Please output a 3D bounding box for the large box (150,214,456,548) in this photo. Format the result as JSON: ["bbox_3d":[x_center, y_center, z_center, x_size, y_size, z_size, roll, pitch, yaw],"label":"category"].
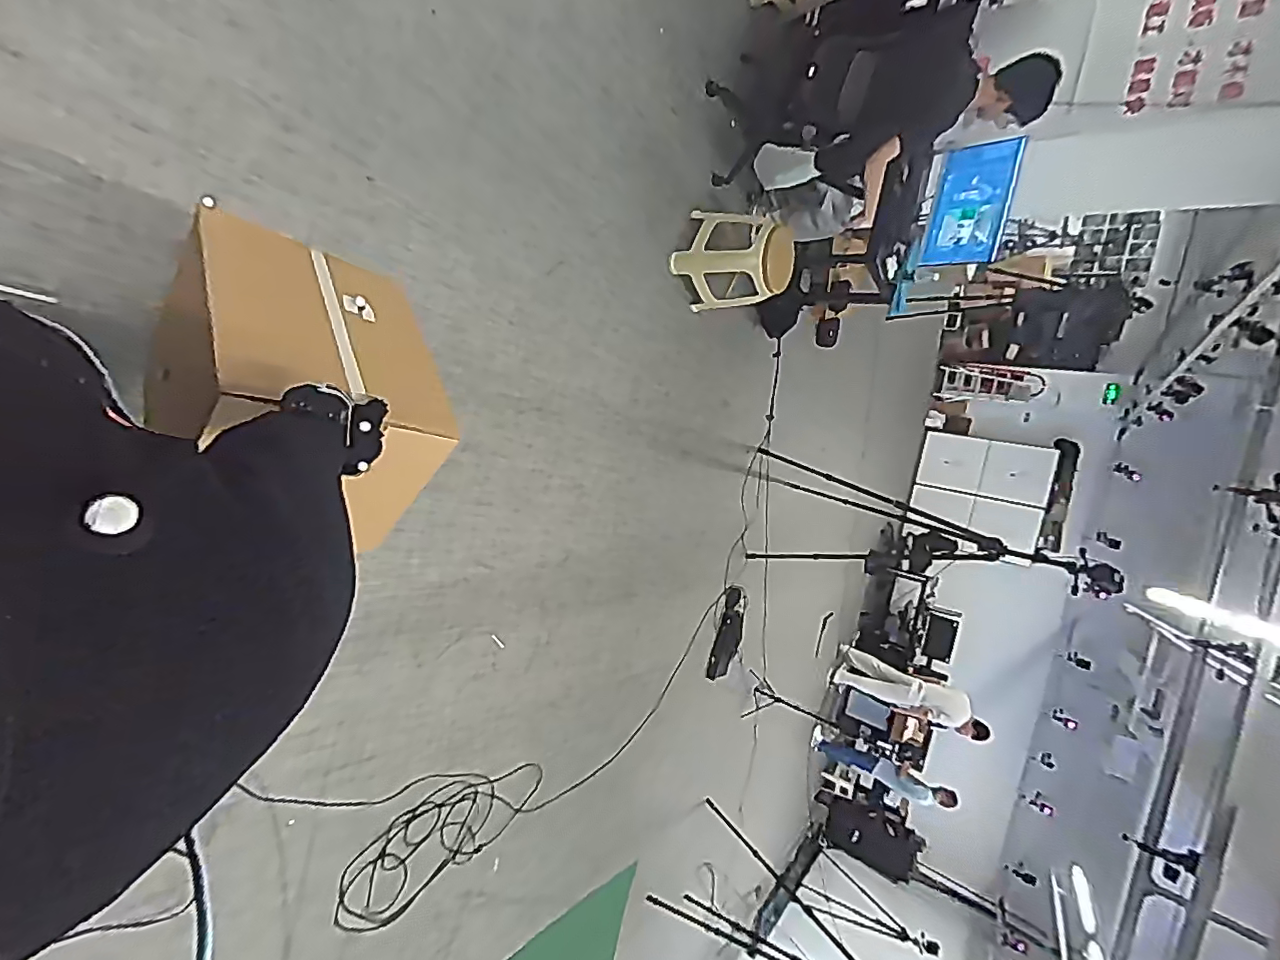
[{"bbox_3d":[-0.568,-0.135,0.894,0.320,0.408,0.320,-44,149,24],"label":"large box"}]
